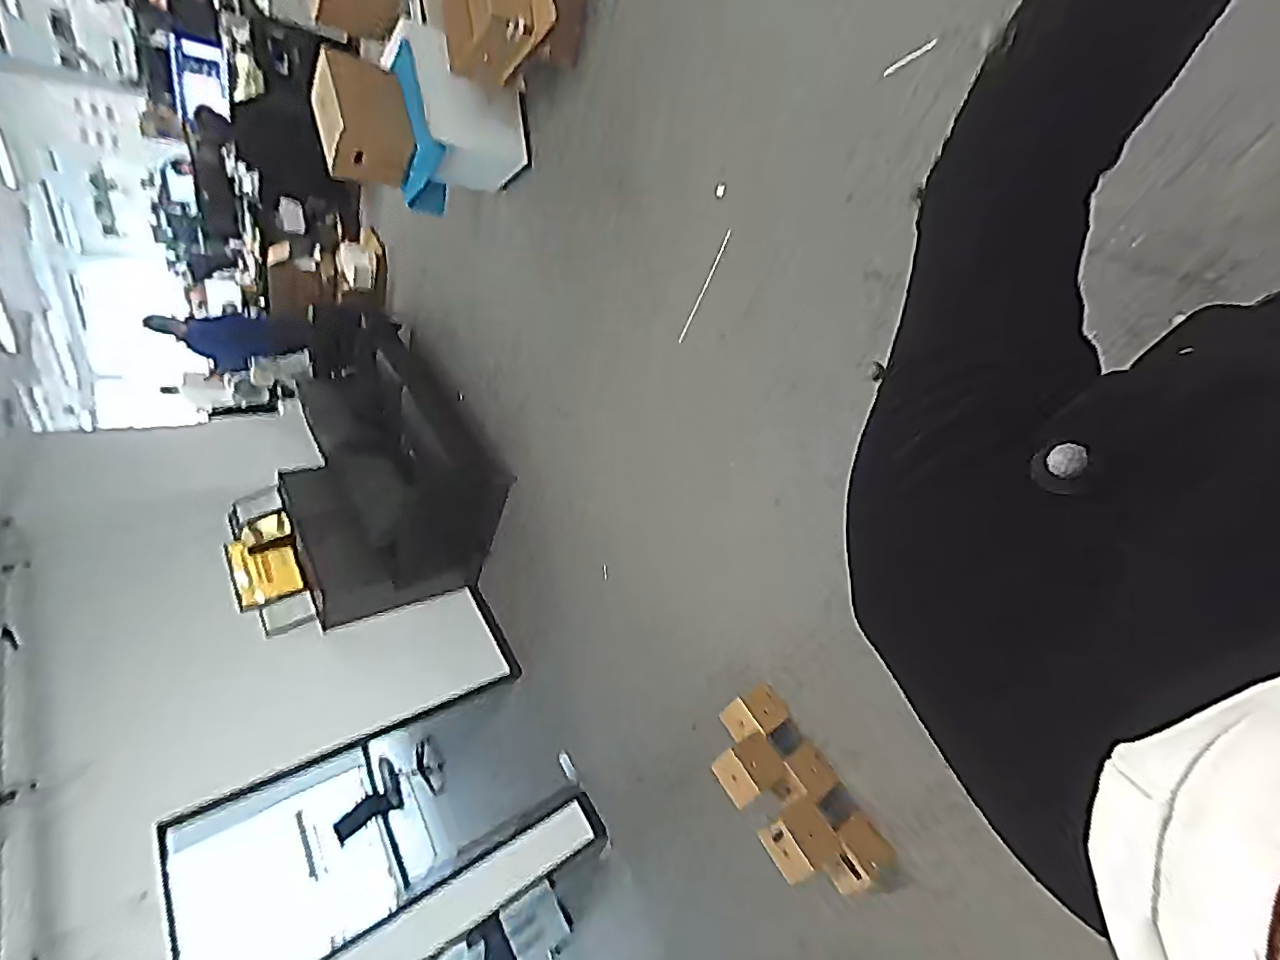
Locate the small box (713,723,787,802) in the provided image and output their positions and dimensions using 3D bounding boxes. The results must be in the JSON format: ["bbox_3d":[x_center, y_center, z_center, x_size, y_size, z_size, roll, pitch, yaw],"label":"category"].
[{"bbox_3d":[0.412,1.047,2.013,0.179,0.176,0.168,51,133,31],"label":"small box"}]

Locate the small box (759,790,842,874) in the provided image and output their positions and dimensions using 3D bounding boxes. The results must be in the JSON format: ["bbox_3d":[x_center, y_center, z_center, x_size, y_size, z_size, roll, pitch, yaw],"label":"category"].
[{"bbox_3d":[0.559,1.217,1.883,0.179,0.176,0.168,52,134,26],"label":"small box"}]

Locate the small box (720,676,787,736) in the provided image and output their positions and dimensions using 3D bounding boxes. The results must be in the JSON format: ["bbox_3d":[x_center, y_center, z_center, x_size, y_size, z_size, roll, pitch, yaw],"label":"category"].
[{"bbox_3d":[0.464,0.923,2.178,0.168,0.176,0.179,51,134,28],"label":"small box"}]
